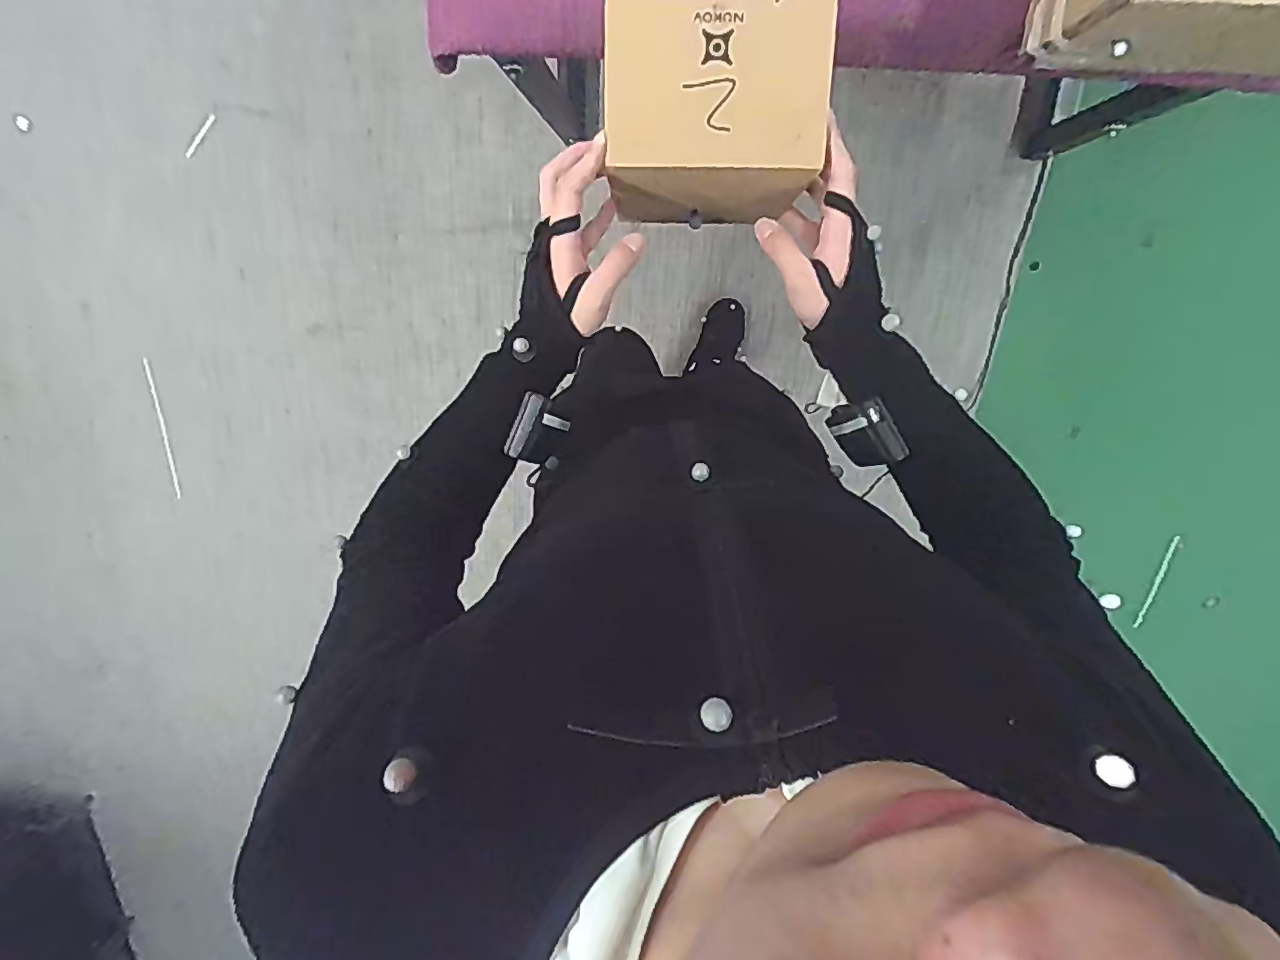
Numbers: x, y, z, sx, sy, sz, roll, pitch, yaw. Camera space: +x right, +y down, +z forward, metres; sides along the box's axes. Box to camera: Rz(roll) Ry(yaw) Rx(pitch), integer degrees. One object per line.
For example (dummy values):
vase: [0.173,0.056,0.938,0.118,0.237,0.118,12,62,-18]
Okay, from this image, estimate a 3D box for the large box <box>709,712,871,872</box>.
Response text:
large box: [0.482,1.064,1.819,0.408,0.320,0.320,-27,105,12]
